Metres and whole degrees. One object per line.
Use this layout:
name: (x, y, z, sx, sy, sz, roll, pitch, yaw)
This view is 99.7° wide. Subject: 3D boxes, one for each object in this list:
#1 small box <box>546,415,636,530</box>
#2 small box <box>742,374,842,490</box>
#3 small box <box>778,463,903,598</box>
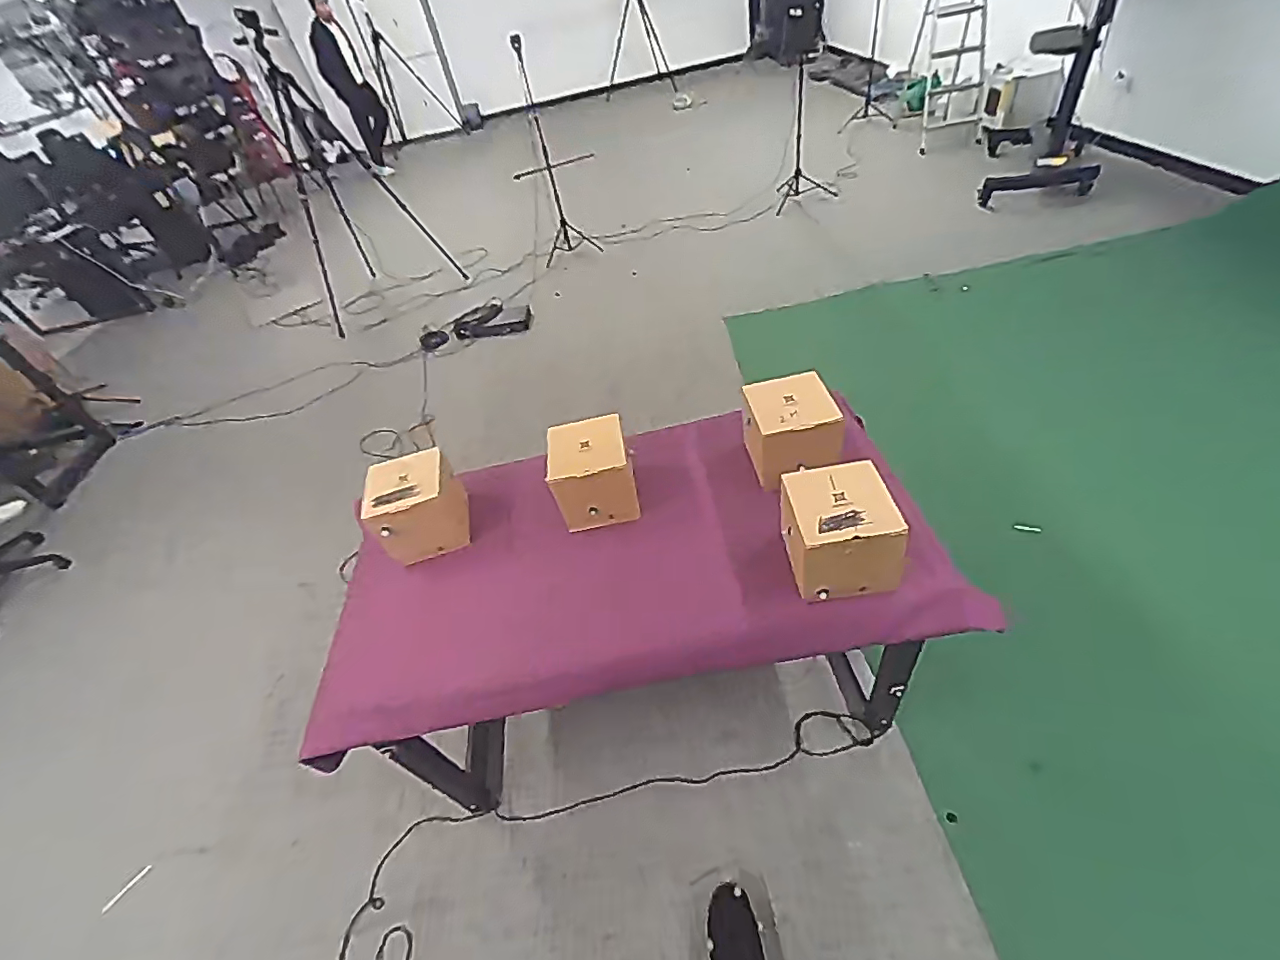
small box: (-0.107, -0.015, 1.202, 0.168, 0.176, 0.179, -11, 46, 1)
small box: (0.324, -0.104, 1.187, 0.168, 0.176, 0.179, -12, 45, 3)
small box: (0.353, 0.099, 0.979, 0.168, 0.176, 0.179, -9, 43, 5)
